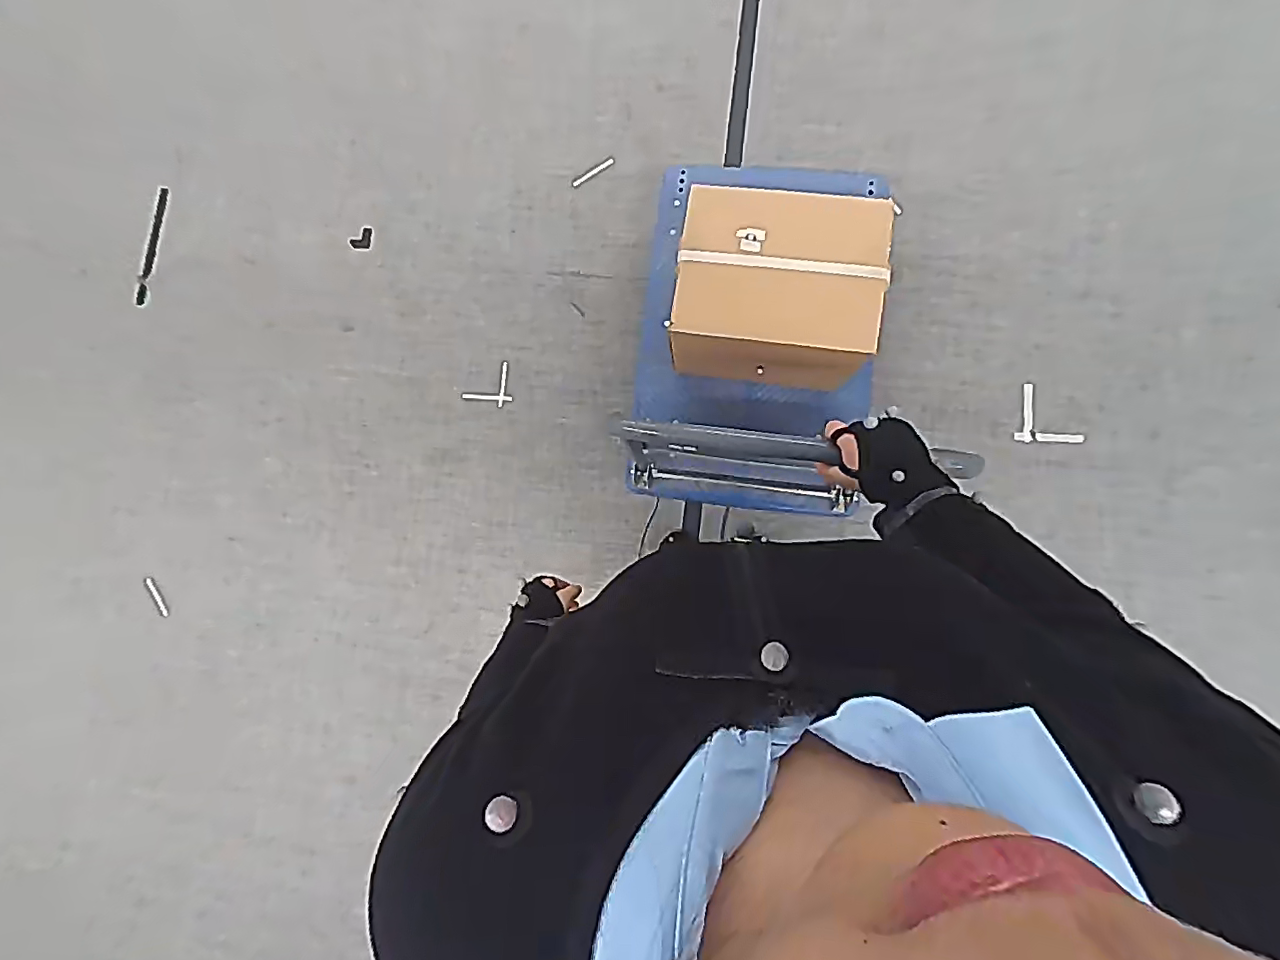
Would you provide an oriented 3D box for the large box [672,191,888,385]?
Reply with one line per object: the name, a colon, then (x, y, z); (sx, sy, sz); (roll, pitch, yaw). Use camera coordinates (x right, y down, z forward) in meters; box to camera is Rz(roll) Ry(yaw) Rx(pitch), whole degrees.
large box: (0.299, -0.416, 1.233); (0.408, 0.320, 0.320); (7, 85, 8)
